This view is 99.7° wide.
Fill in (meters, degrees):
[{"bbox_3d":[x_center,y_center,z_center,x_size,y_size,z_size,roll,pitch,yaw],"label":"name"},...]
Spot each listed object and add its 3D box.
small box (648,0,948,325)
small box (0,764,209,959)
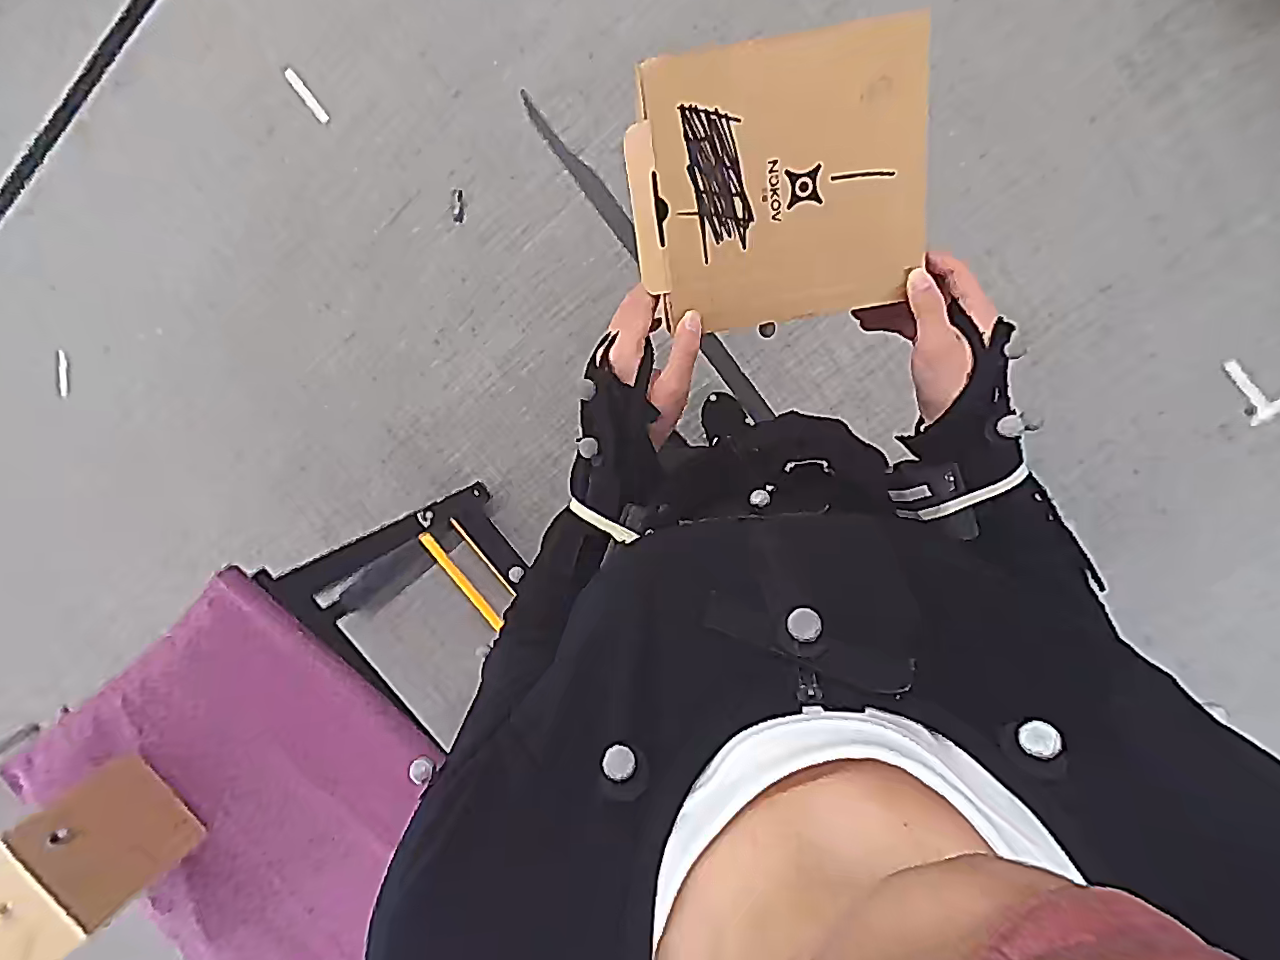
[{"bbox_3d":[0.101,-0.217,0.415,0.179,0.176,0.168,-8,110,2],"label":"small box"},{"bbox_3d":[-0.782,0.541,0.765,0.168,0.176,0.179,-38,94,12],"label":"small box"}]
